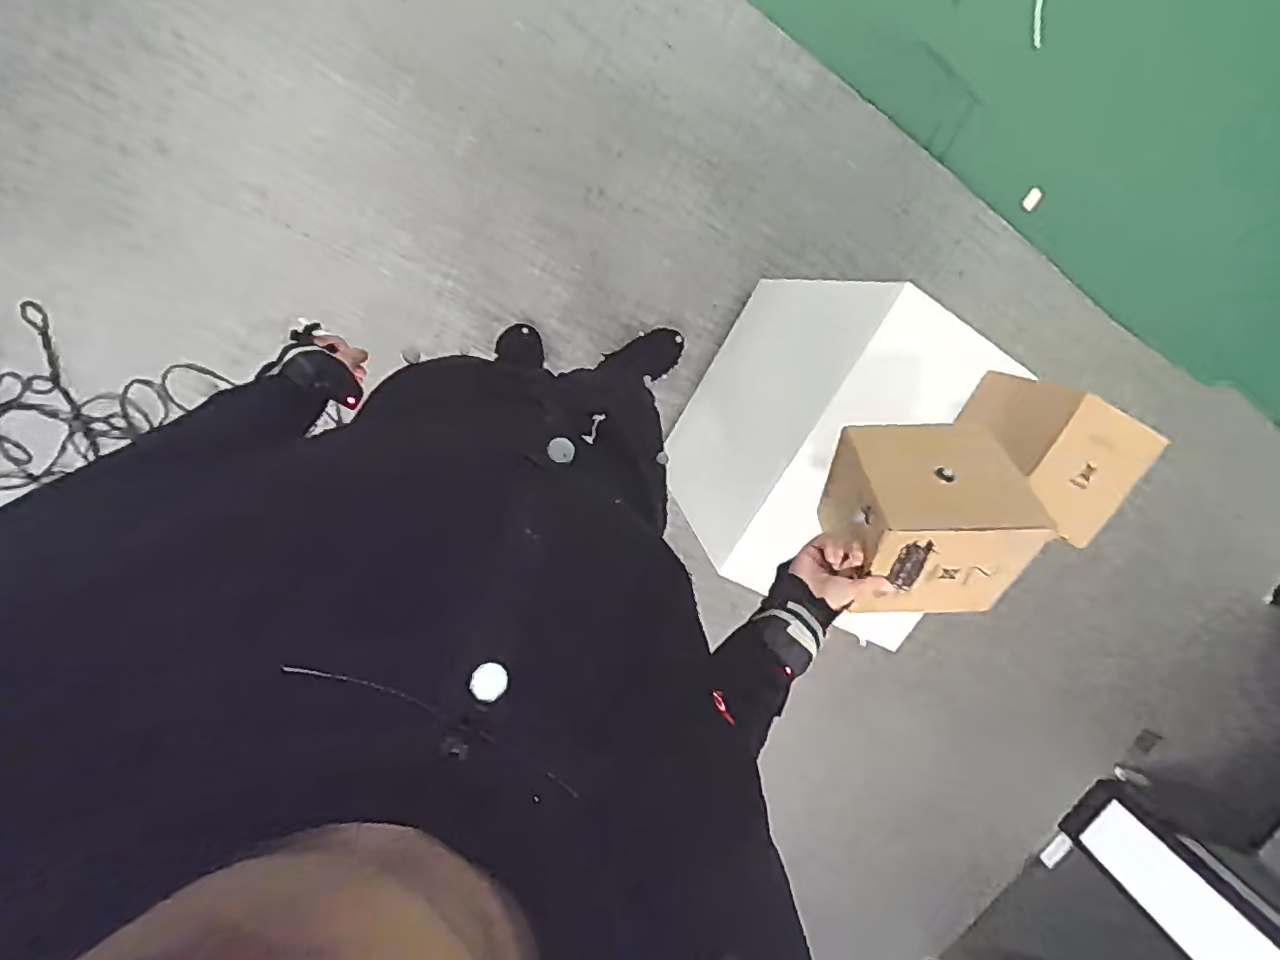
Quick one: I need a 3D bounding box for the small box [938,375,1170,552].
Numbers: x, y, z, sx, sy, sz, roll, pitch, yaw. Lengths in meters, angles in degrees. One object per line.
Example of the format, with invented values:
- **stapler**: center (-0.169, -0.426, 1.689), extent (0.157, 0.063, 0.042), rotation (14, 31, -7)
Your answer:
- **small box**: center (0.572, -0.030, 0.777), extent (0.168, 0.176, 0.179), rotation (21, 105, -17)
